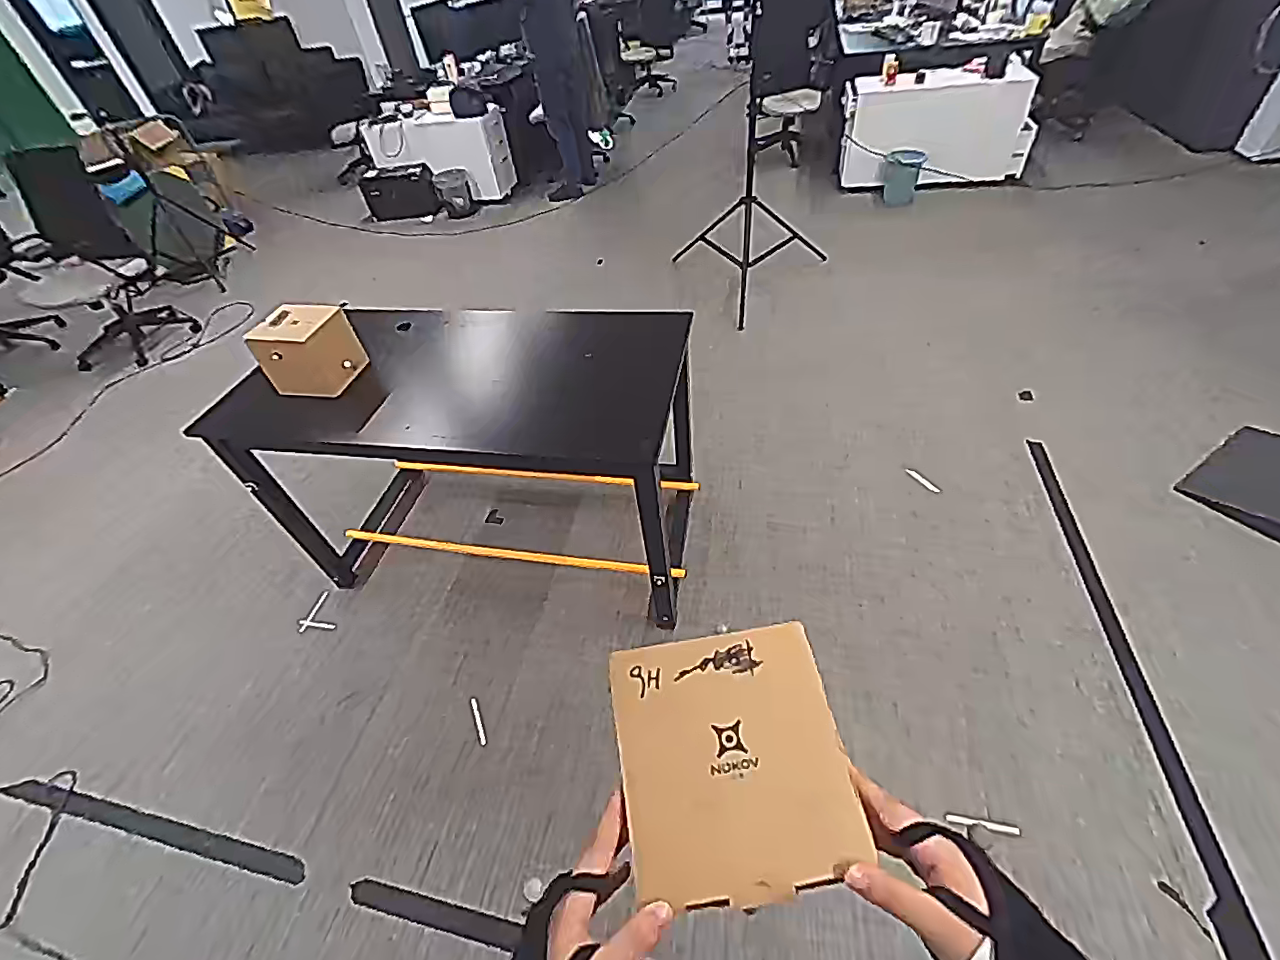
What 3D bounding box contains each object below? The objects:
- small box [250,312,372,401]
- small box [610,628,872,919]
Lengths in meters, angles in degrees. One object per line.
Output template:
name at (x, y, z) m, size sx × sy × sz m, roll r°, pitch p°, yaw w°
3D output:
small box at (-0.849, -0.322, 1.415) m, size 0.179 × 0.176 × 0.168 m, roll 4°, pitch 47°, yaw 11°
small box at (0.072, 0.251, 0.477) m, size 0.168 × 0.176 × 0.179 m, roll -9°, pitch 58°, yaw -2°
